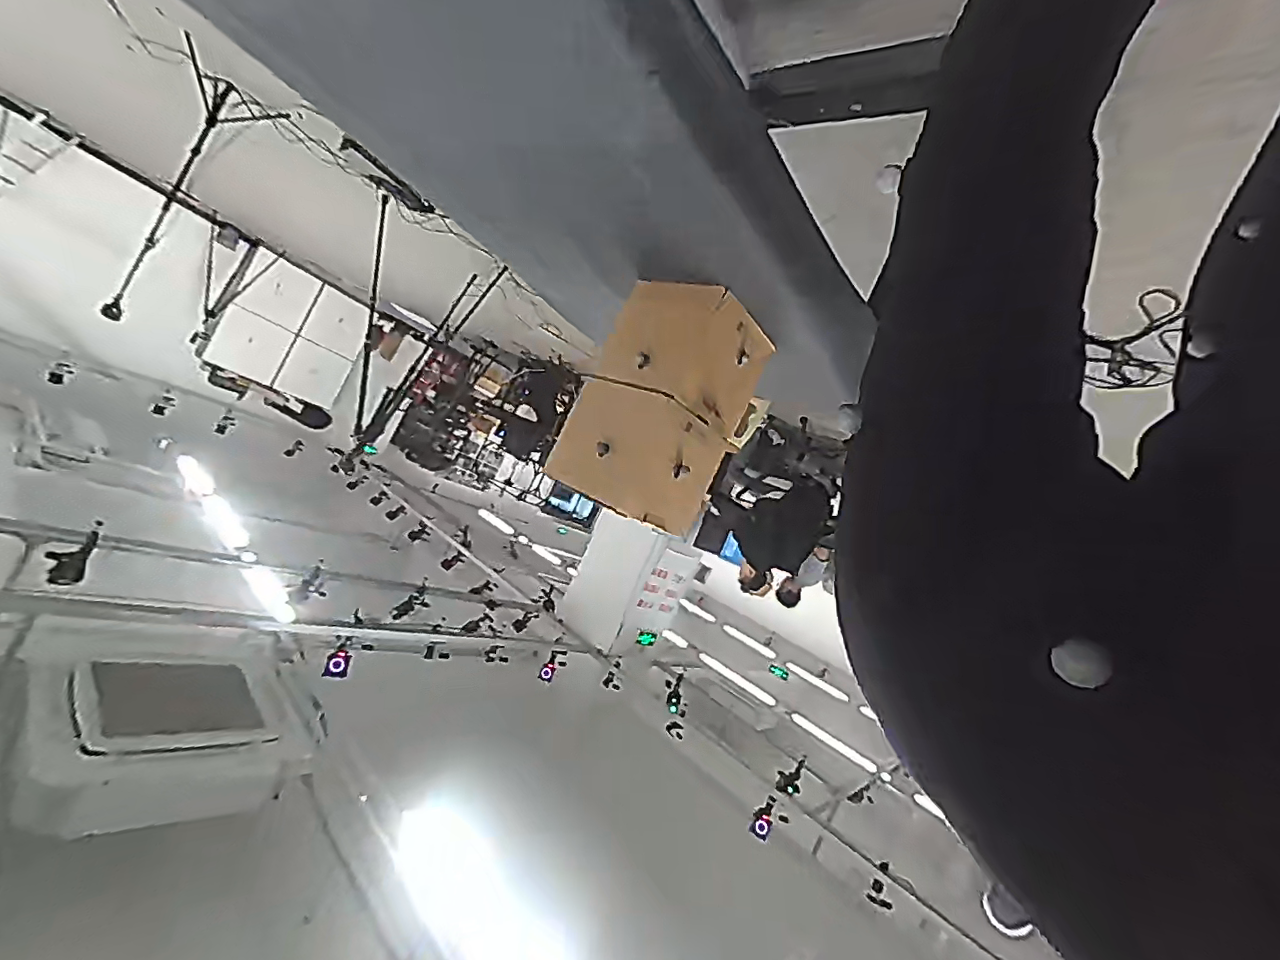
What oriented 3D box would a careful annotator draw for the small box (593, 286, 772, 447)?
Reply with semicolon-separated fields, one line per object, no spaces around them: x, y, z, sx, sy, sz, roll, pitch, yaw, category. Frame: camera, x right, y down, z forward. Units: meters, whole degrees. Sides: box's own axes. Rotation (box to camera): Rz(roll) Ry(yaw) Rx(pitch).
0.068;-0.175;0.821;0.179;0.176;0.168;23;176;42;small box

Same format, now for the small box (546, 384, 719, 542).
-0.003;-0.028;0.808;0.179;0.176;0.168;22;175;43;small box
